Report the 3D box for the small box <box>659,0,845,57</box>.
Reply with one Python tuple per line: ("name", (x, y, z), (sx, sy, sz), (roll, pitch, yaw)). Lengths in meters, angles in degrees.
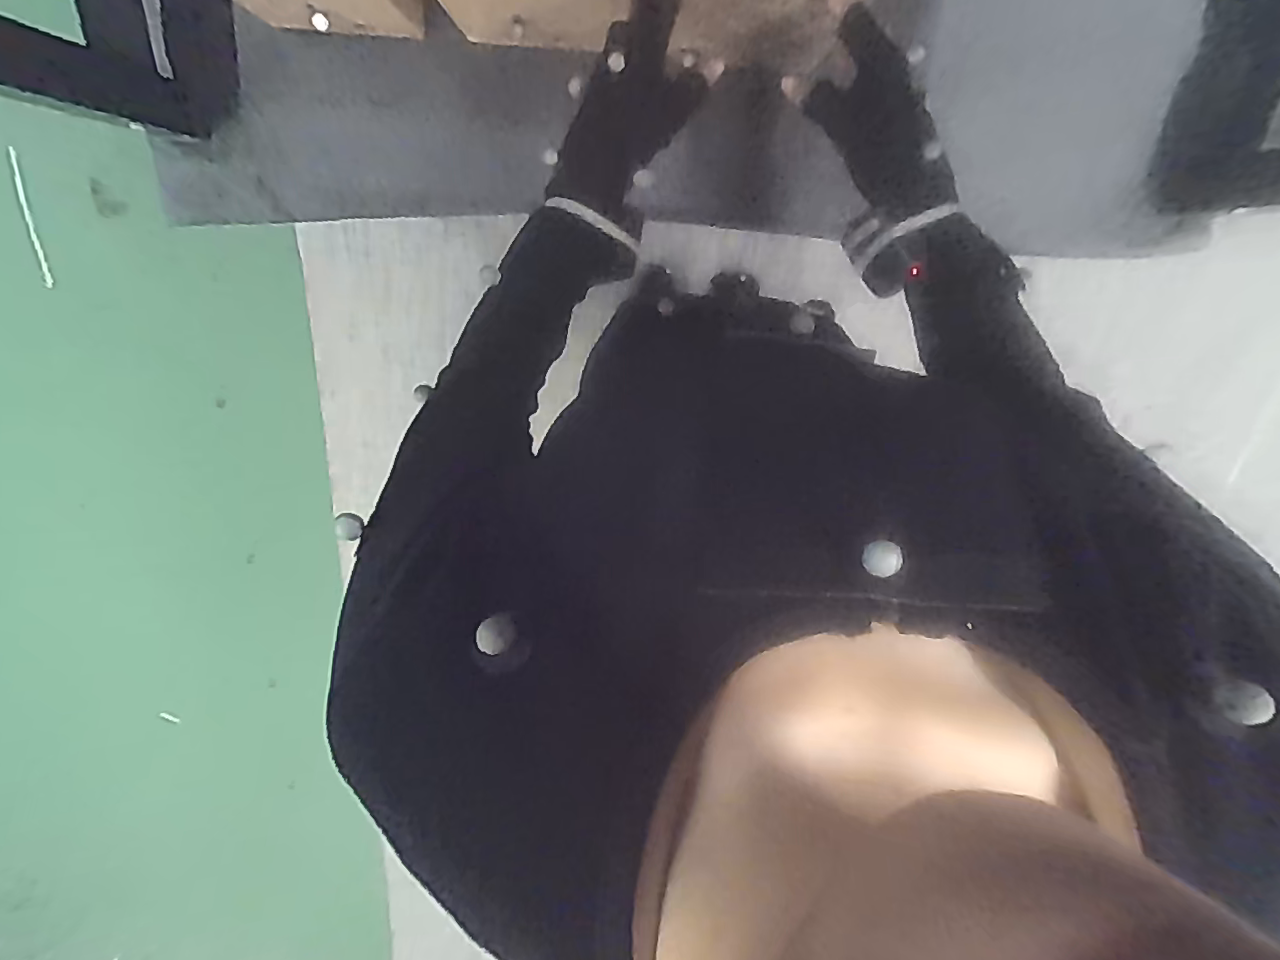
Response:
("small box", (0.105, -0.497, 0.461), (0.168, 0.176, 0.179), (5, 111, 0))
